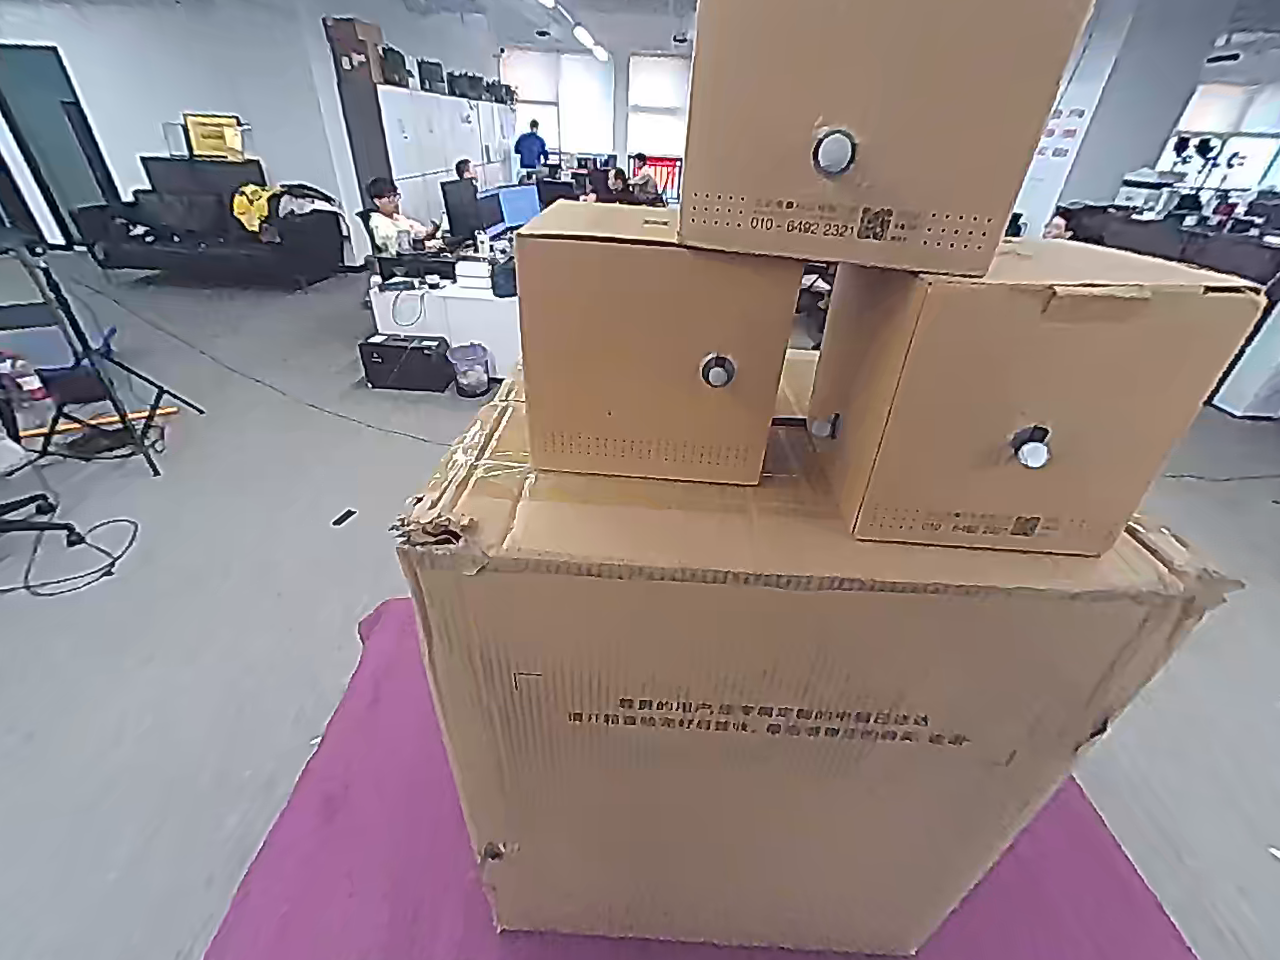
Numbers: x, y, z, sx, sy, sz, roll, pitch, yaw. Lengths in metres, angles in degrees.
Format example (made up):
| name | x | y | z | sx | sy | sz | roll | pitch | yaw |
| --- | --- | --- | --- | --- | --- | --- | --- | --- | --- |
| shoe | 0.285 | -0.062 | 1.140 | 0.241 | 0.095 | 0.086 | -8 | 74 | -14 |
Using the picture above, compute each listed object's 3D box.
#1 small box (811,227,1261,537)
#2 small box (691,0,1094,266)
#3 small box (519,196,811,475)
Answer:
| name | x | y | z | sx | sy | sz | roll | pitch | yaw |
| --- | --- | --- | --- | --- | --- | --- | --- | --- | --- |
| small box | 0.231 | -0.076 | 0.382 | 0.168 | 0.176 | 0.179 | 3 | 32 | 3 |
| small box | 0.130 | -0.235 | 0.319 | 0.168 | 0.176 | 0.179 | 11 | 34 | 11 |
| small box | 0.014 | -0.116 | 0.427 | 0.179 | 0.176 | 0.168 | 3 | 32 | 0 |
